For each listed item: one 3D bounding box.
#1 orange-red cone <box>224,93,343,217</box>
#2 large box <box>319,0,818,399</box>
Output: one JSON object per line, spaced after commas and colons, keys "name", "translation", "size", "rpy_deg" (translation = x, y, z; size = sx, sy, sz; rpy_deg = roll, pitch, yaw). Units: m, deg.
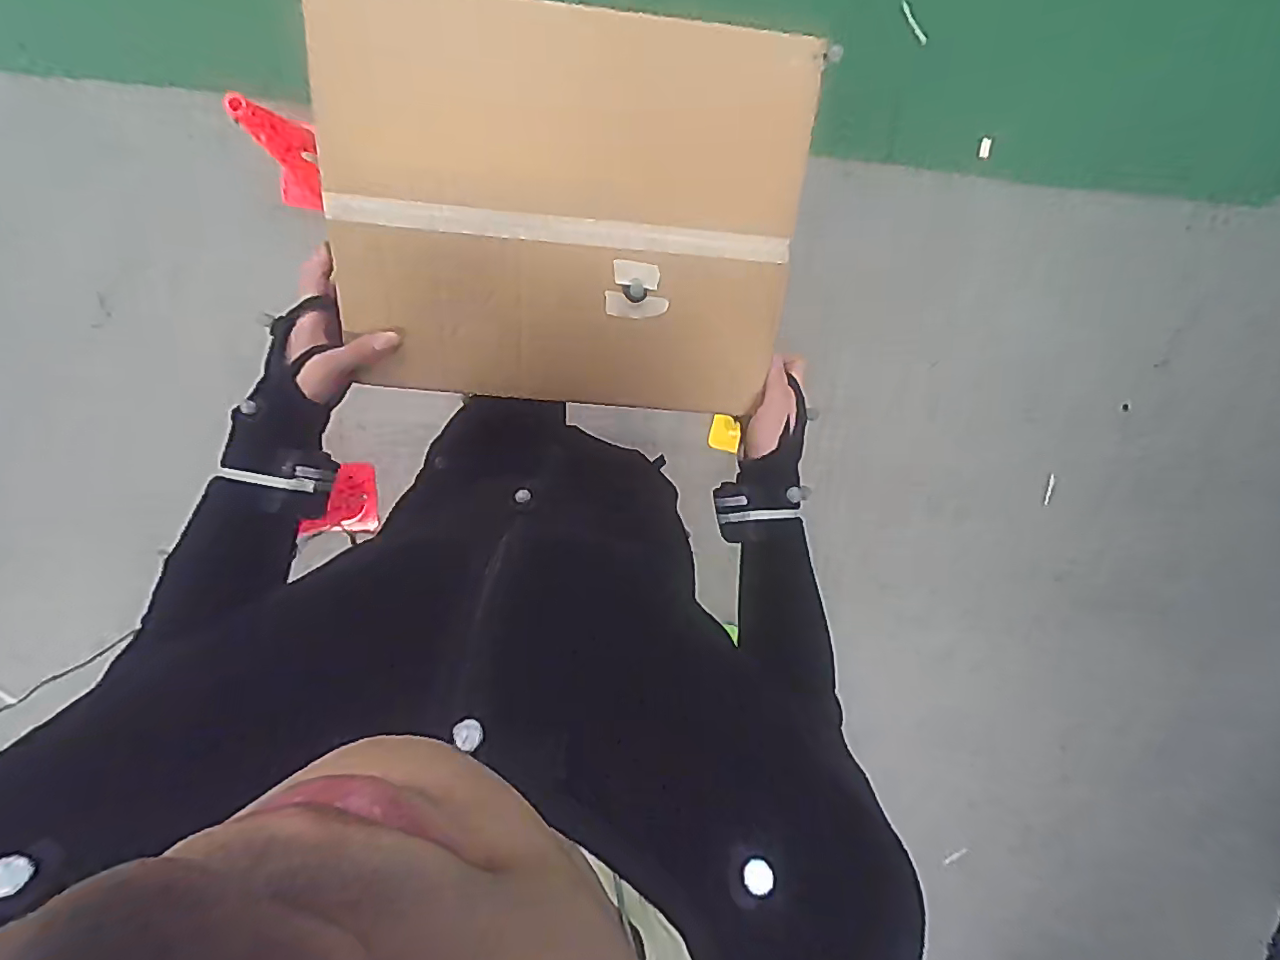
{"name": "orange-red cone", "translation": [-0.792, -0.753, 1.206], "size": [0.199, 0.360, 0.198], "rpy_deg": [11, 100, -5]}
{"name": "large box", "translation": [-0.071, -0.291, 0.621], "size": [0.408, 0.320, 0.320], "rpy_deg": [4, 113, -5]}
